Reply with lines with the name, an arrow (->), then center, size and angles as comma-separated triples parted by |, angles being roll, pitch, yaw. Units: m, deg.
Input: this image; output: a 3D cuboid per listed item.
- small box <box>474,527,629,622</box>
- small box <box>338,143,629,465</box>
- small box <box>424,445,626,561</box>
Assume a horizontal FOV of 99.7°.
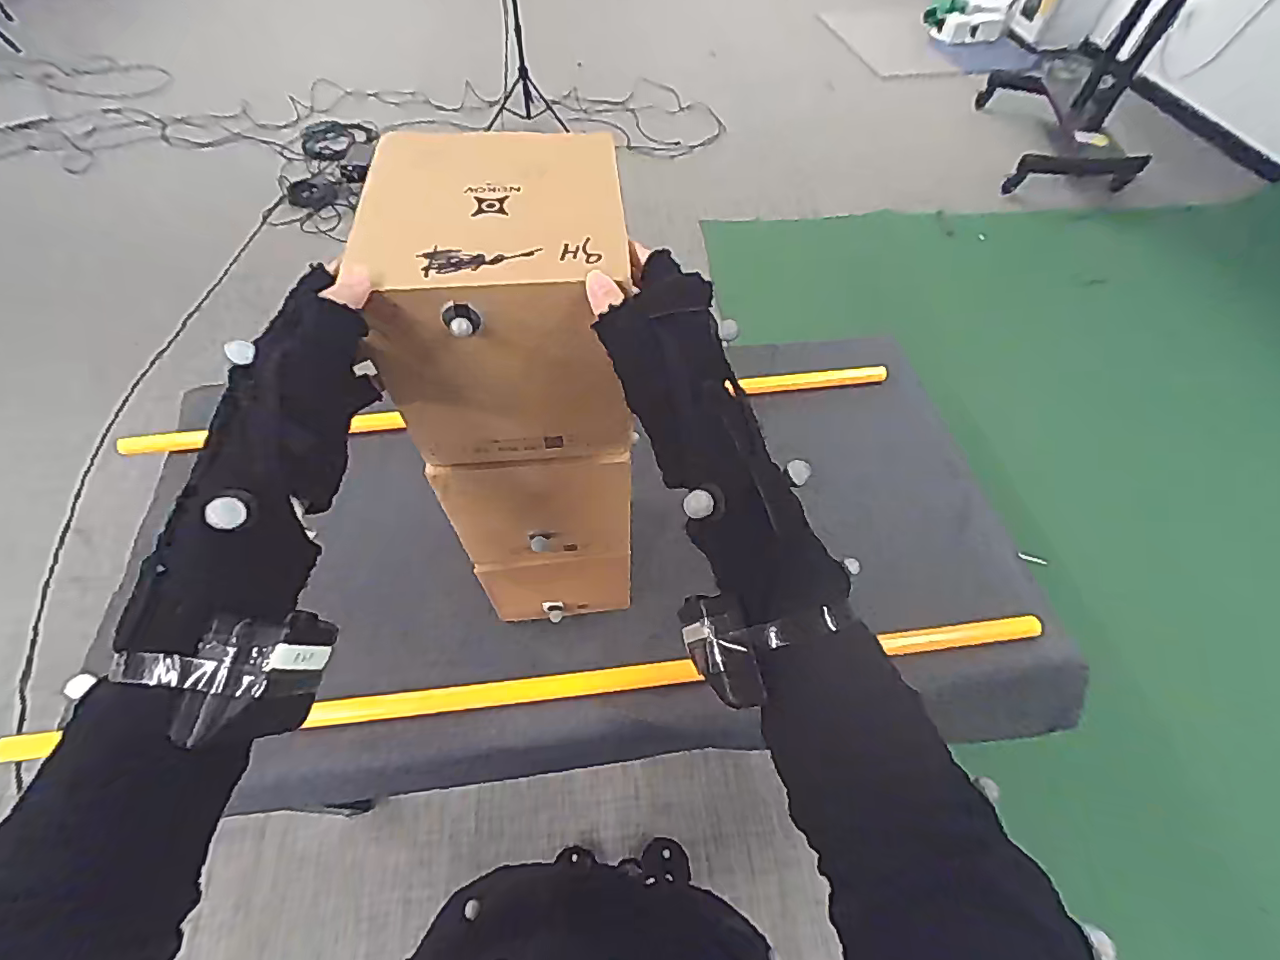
small box -> -0.107, 0.062, 0.685 | 0.168, 0.176, 0.179 | -7, 58, -6
small box -> -0.097, -0.132, 0.419 | 0.168, 0.176, 0.179 | -4, 56, -3
small box -> -0.102, -0.034, 0.551 | 0.168, 0.176, 0.179 | -3, 57, -4
